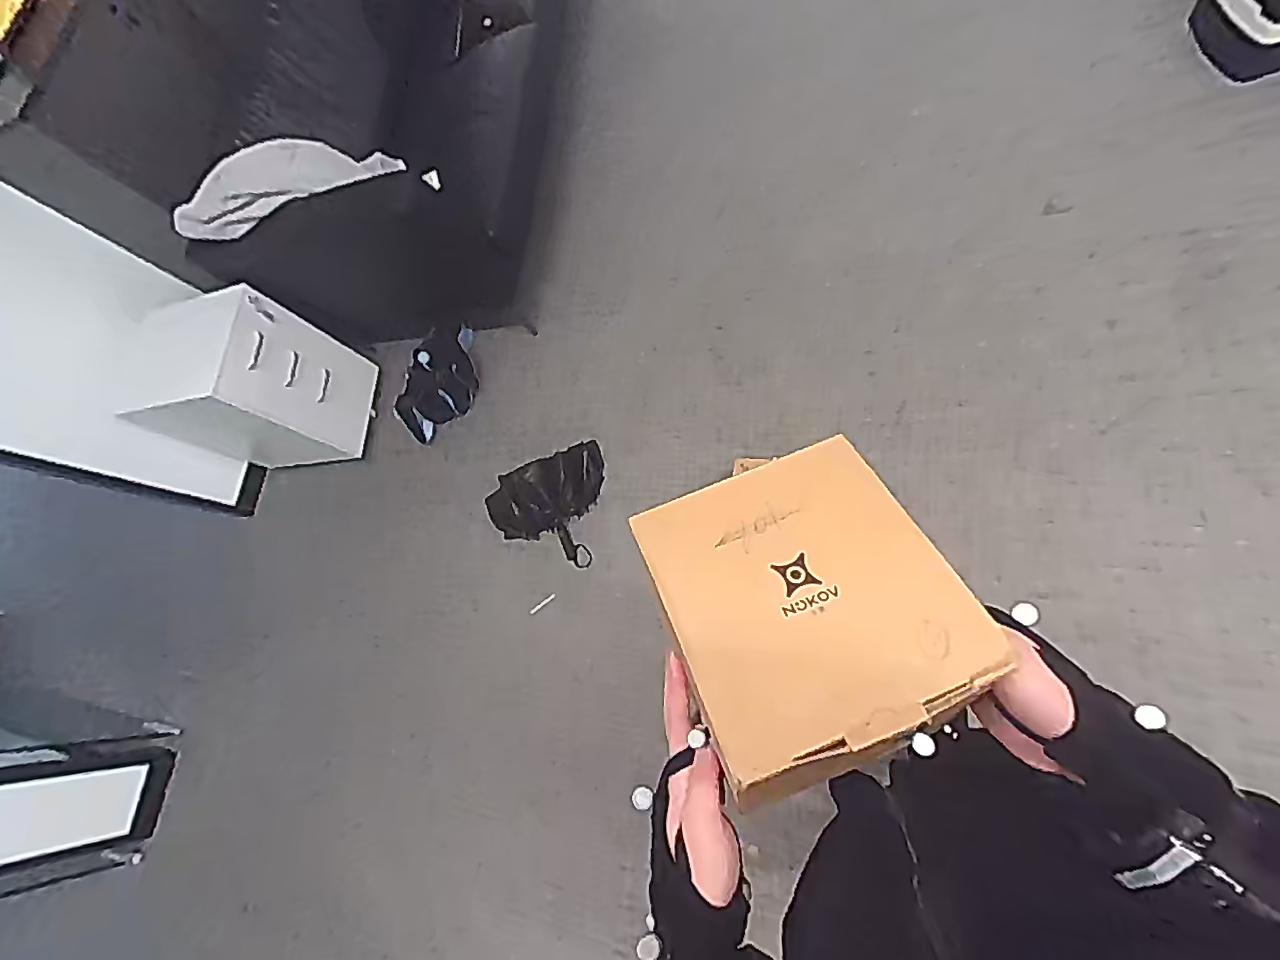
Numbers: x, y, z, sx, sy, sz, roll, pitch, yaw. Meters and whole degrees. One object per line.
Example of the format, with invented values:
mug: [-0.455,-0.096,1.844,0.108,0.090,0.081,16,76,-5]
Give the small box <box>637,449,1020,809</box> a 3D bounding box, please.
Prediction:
small box: [0.113,0.115,0.392,0.168,0.176,0.179,-21,51,-5]
